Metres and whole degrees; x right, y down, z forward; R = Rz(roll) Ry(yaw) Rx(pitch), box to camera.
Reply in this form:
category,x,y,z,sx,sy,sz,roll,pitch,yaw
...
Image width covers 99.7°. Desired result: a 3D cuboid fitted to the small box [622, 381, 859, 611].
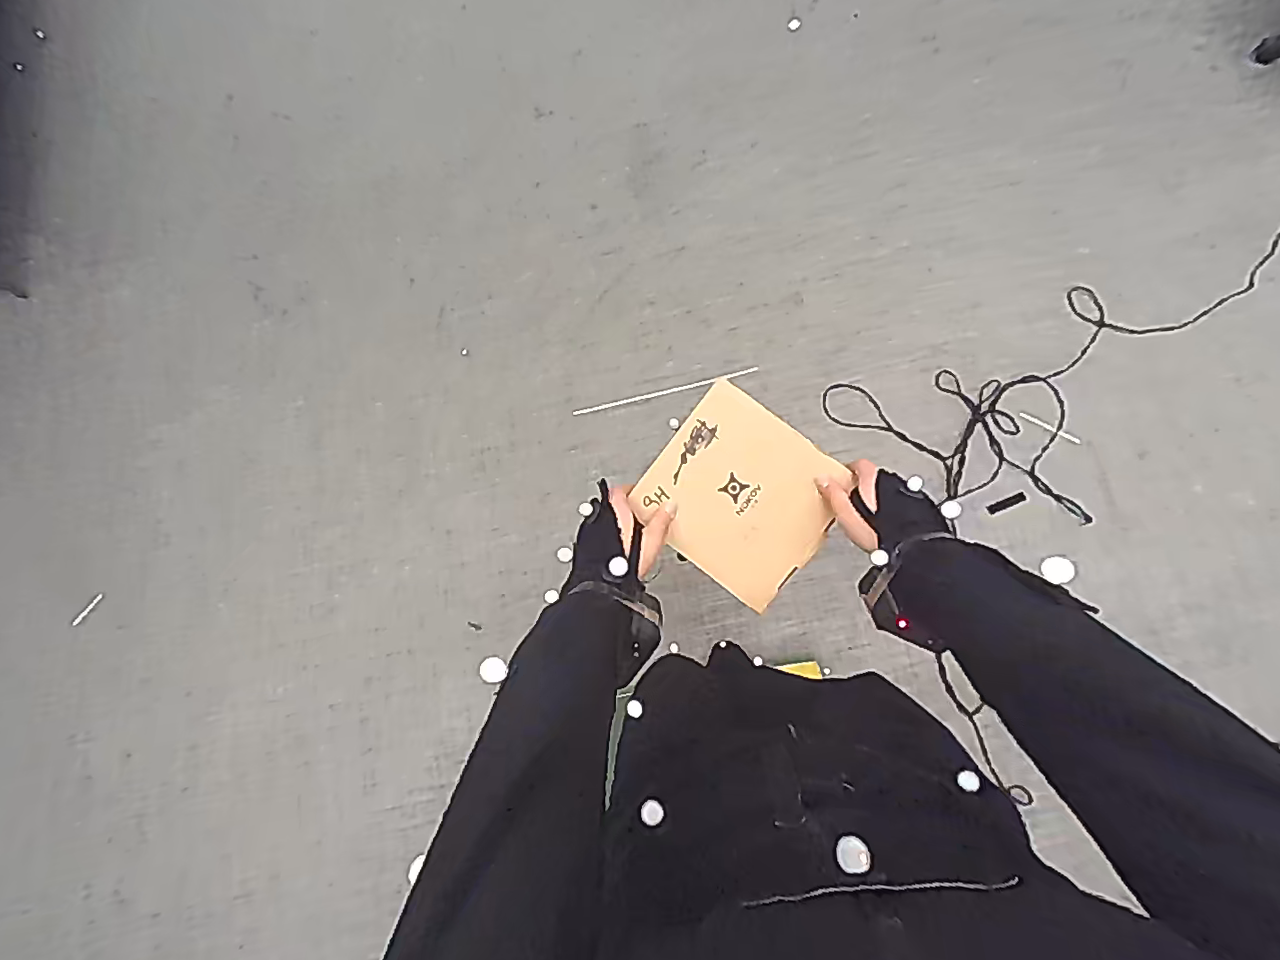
category,x,y,z,sx,sy,sz,roll,pitch,yaw
small box,0.104,0.015,0.612,0.179,0.176,0.168,38,92,4
